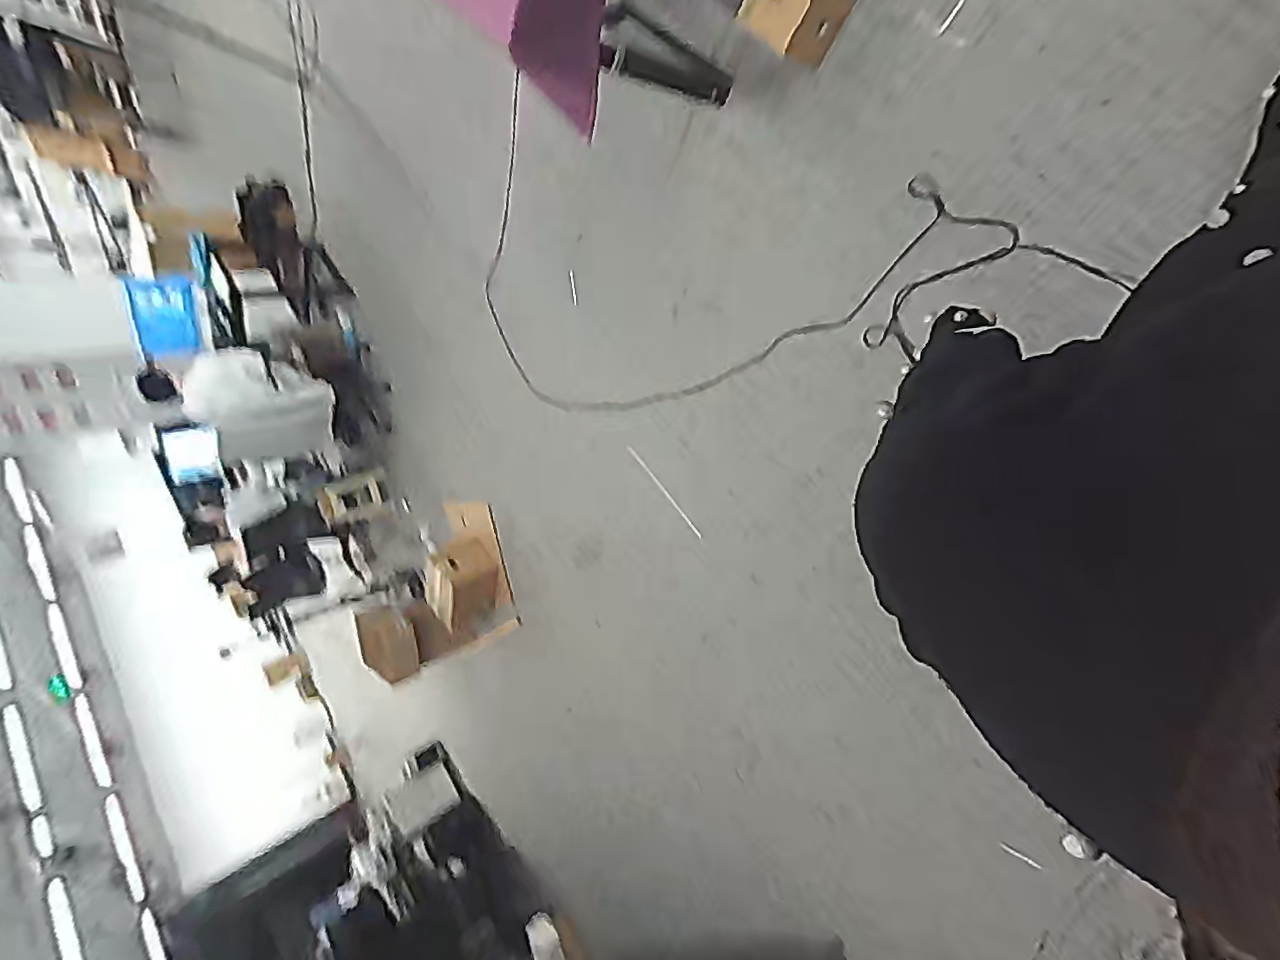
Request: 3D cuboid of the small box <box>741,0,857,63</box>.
[{"bbox_3d":[0.387,-1.144,1.301,0.179,0.176,0.168,52,136,17],"label":"small box"}]
